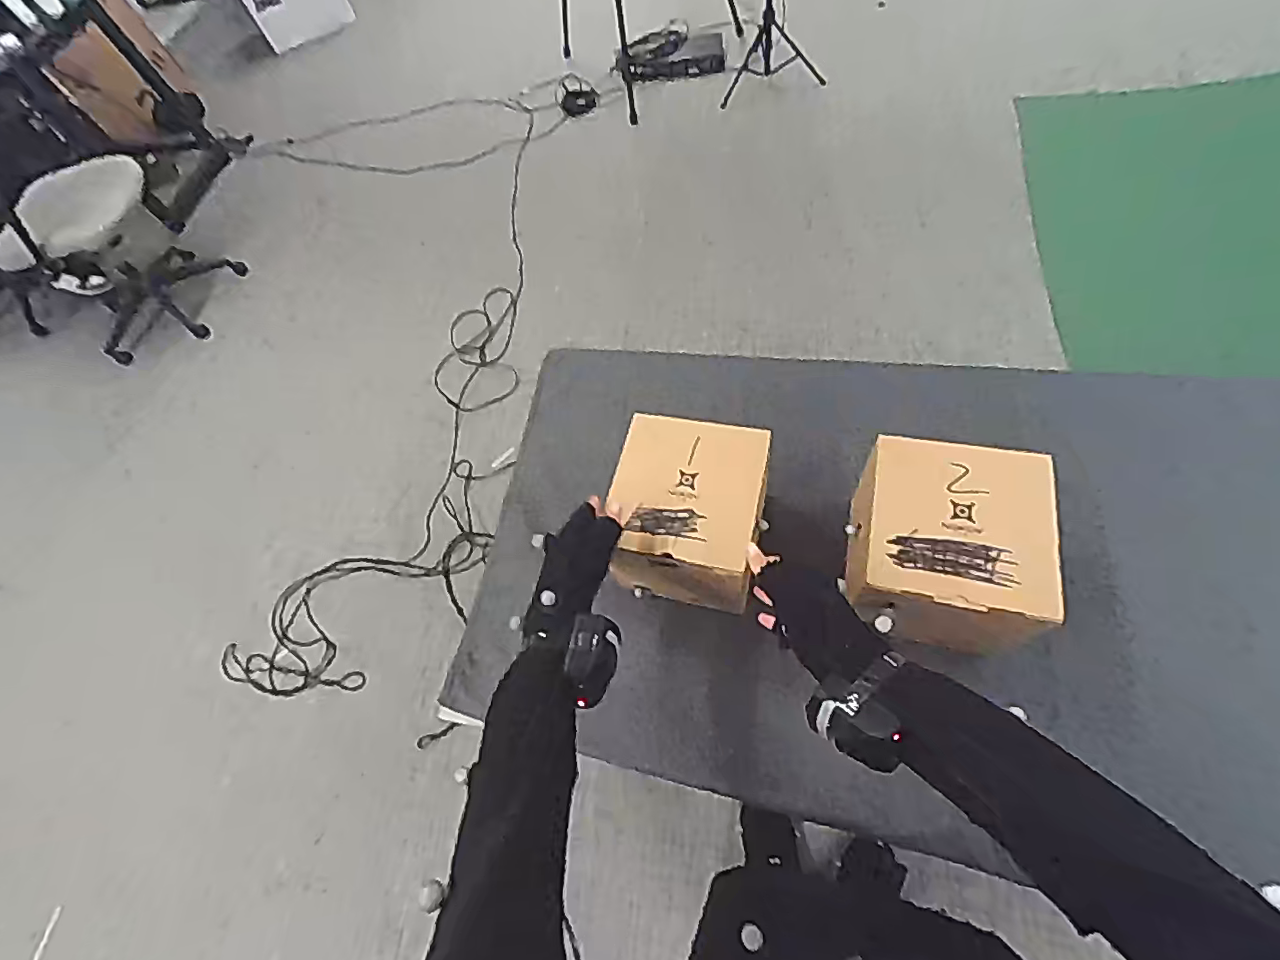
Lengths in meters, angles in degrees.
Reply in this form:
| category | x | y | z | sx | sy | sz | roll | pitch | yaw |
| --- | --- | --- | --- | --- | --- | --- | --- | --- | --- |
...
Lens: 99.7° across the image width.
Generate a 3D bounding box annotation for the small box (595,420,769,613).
| category | x | y | z | sx | sy | sz | roll | pitch | yaw |
| --- | --- | --- | --- | --- | --- | --- | --- | --- | --- |
| small box | 0.063 | 0.051 | 0.672 | 0.168 | 0.176 | 0.179 | 10 | 64 | 16 |
